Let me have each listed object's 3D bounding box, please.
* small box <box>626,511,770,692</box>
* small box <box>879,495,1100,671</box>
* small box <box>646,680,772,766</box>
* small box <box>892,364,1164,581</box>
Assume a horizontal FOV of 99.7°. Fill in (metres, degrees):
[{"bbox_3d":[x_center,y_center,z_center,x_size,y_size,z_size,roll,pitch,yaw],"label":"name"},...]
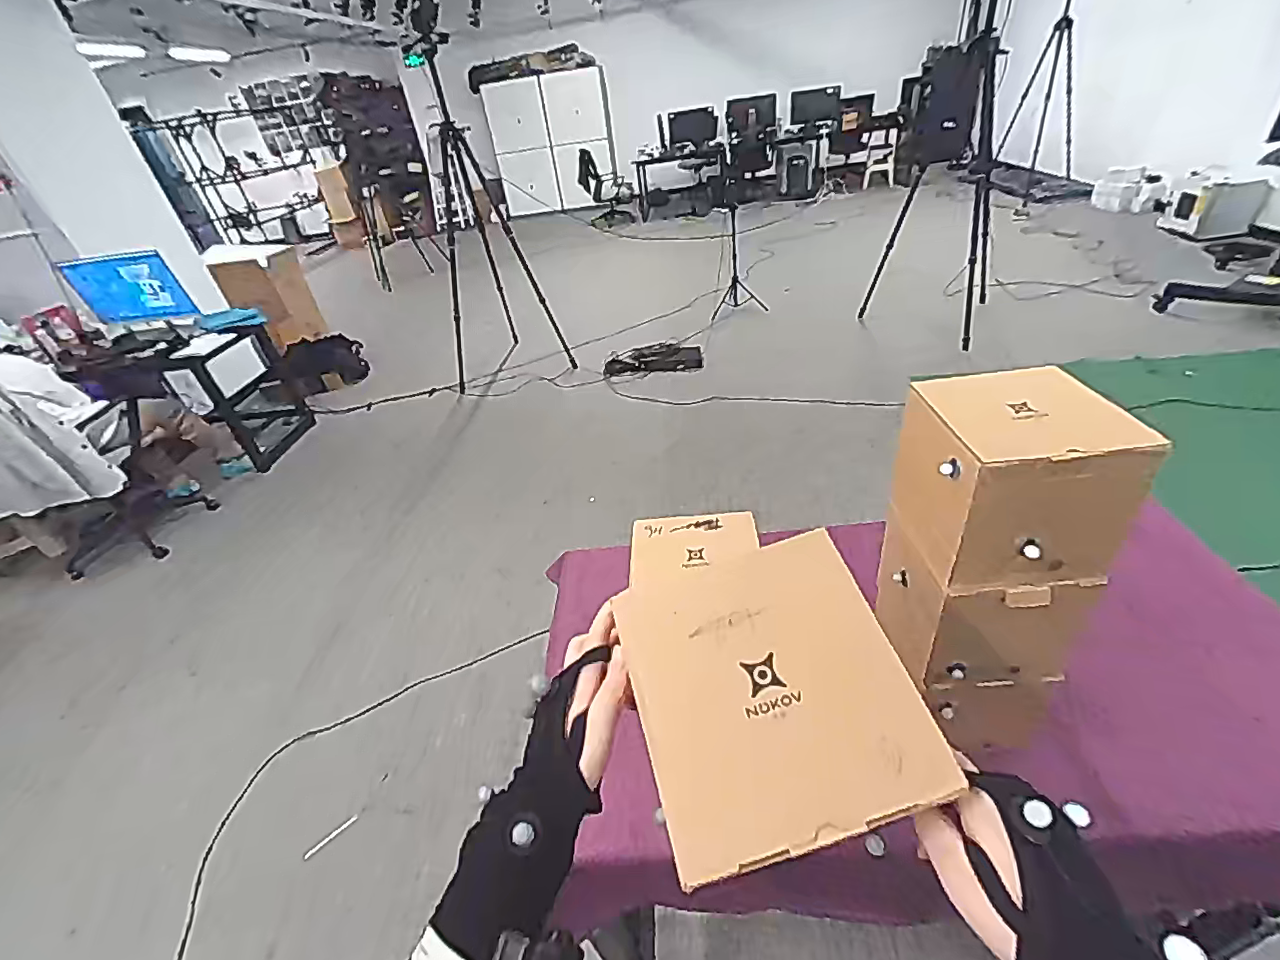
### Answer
[{"bbox_3d":[0.079,0.166,0.721,0.168,0.176,0.179,-5,36,6],"label":"small box"},{"bbox_3d":[0.422,0.126,0.692,0.168,0.176,0.179,-7,34,5],"label":"small box"},{"bbox_3d":[0.102,0.300,0.812,0.168,0.176,0.179,-6,35,6],"label":"small box"},{"bbox_3d":[0.402,-0.011,0.606,0.168,0.176,0.179,-7,36,4],"label":"small box"}]
